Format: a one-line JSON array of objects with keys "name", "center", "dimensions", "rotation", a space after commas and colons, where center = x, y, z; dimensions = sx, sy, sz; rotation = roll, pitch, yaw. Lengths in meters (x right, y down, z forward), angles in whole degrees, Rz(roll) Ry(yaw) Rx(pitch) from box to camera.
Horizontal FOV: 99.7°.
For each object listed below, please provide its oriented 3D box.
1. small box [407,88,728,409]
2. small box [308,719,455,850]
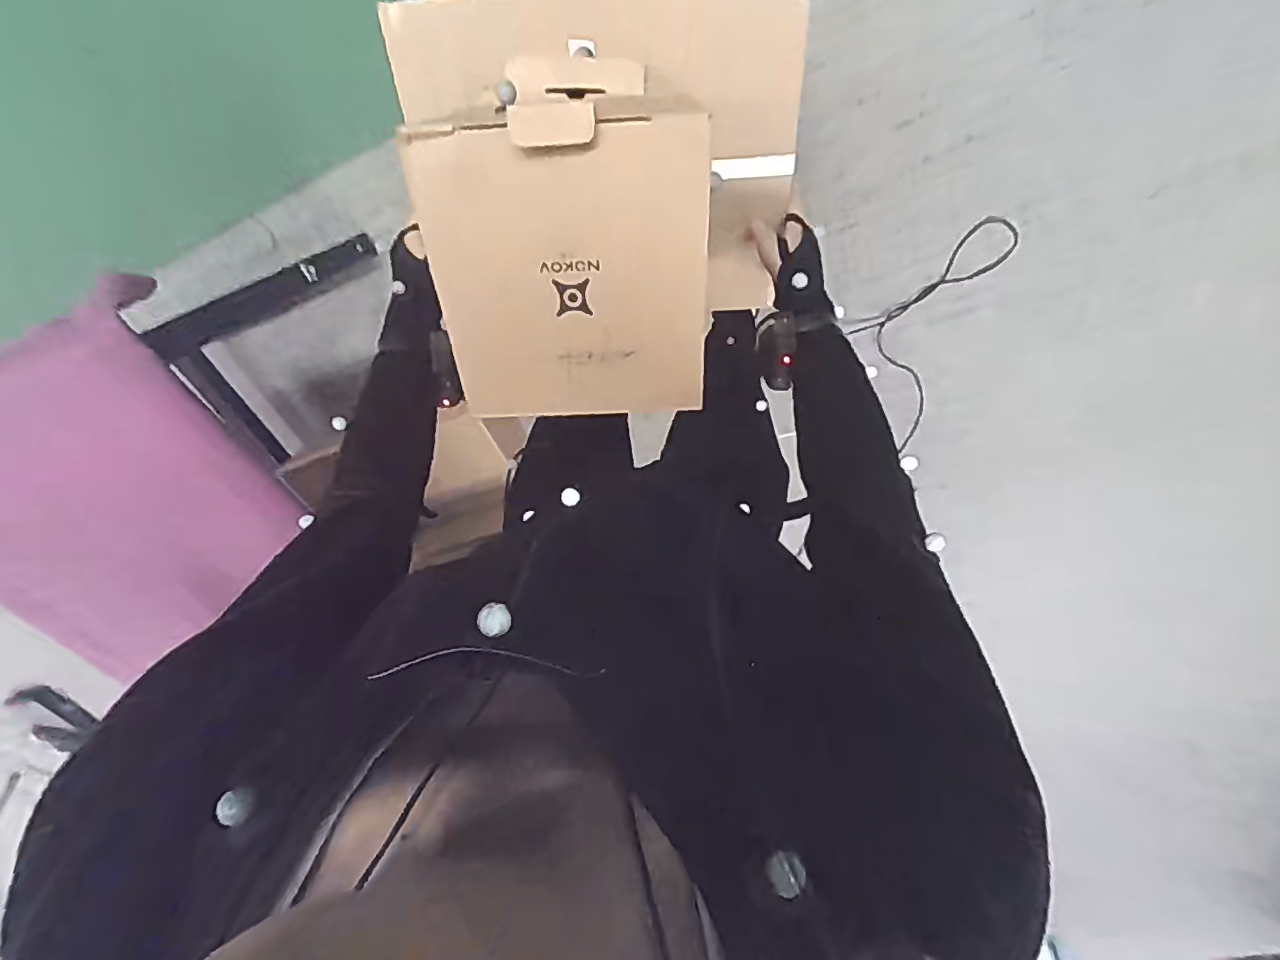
[{"name": "small box", "center": [-0.037, -0.168, 0.383], "dimensions": [0.168, 0.176, 0.179], "rotation": [-1, 128, 1]}, {"name": "small box", "center": [-0.508, 0.610, 1.090], "dimensions": [0.179, 0.176, 0.168], "rotation": [-15, 122, 13]}]
